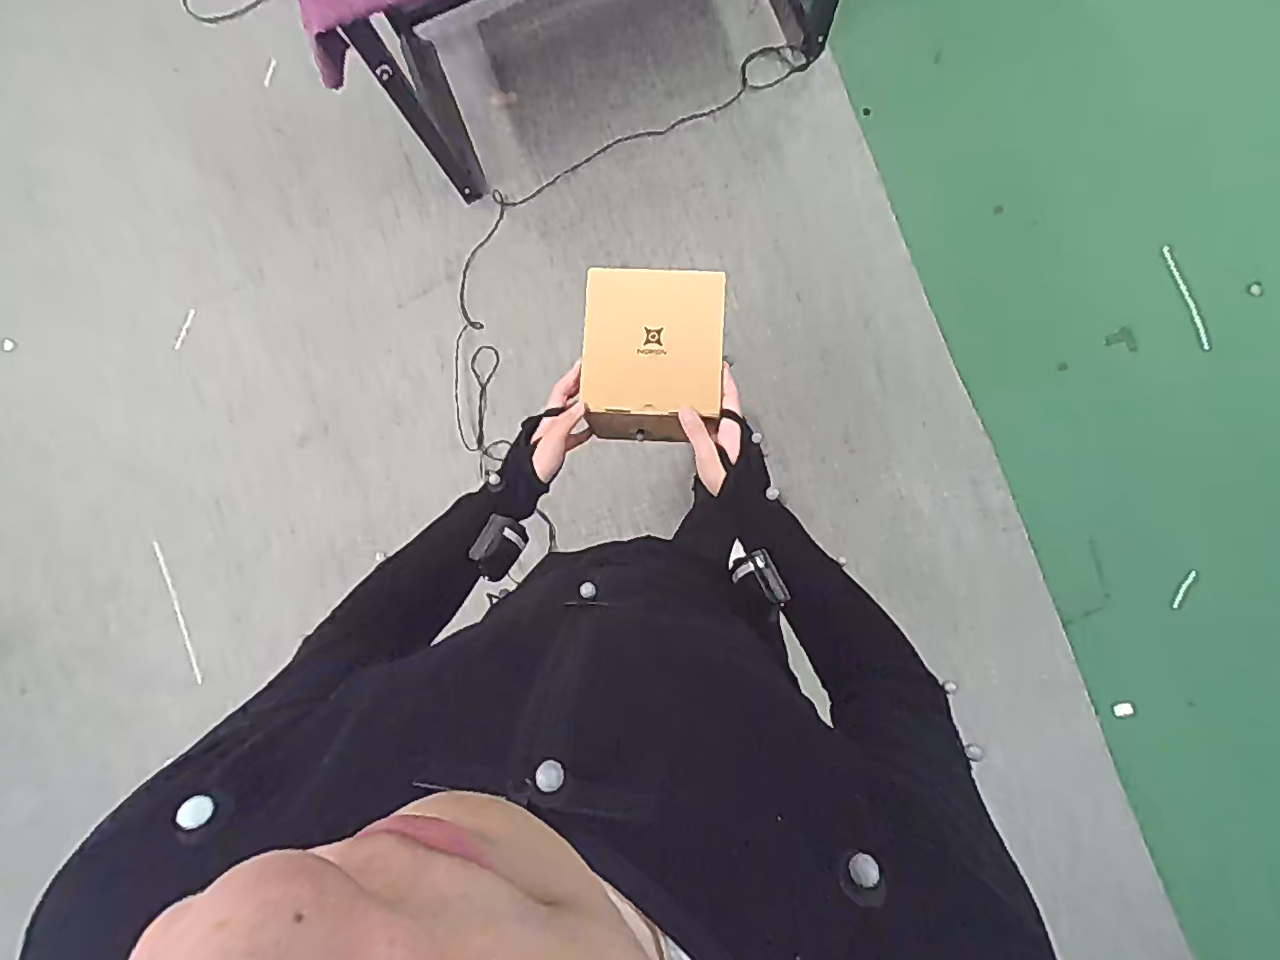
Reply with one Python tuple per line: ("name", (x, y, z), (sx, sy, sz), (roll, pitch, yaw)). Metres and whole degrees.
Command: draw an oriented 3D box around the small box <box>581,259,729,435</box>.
("small box", (0.019, -0.163, 0.707), (0.168, 0.176, 0.179), (3, 86, 2))
